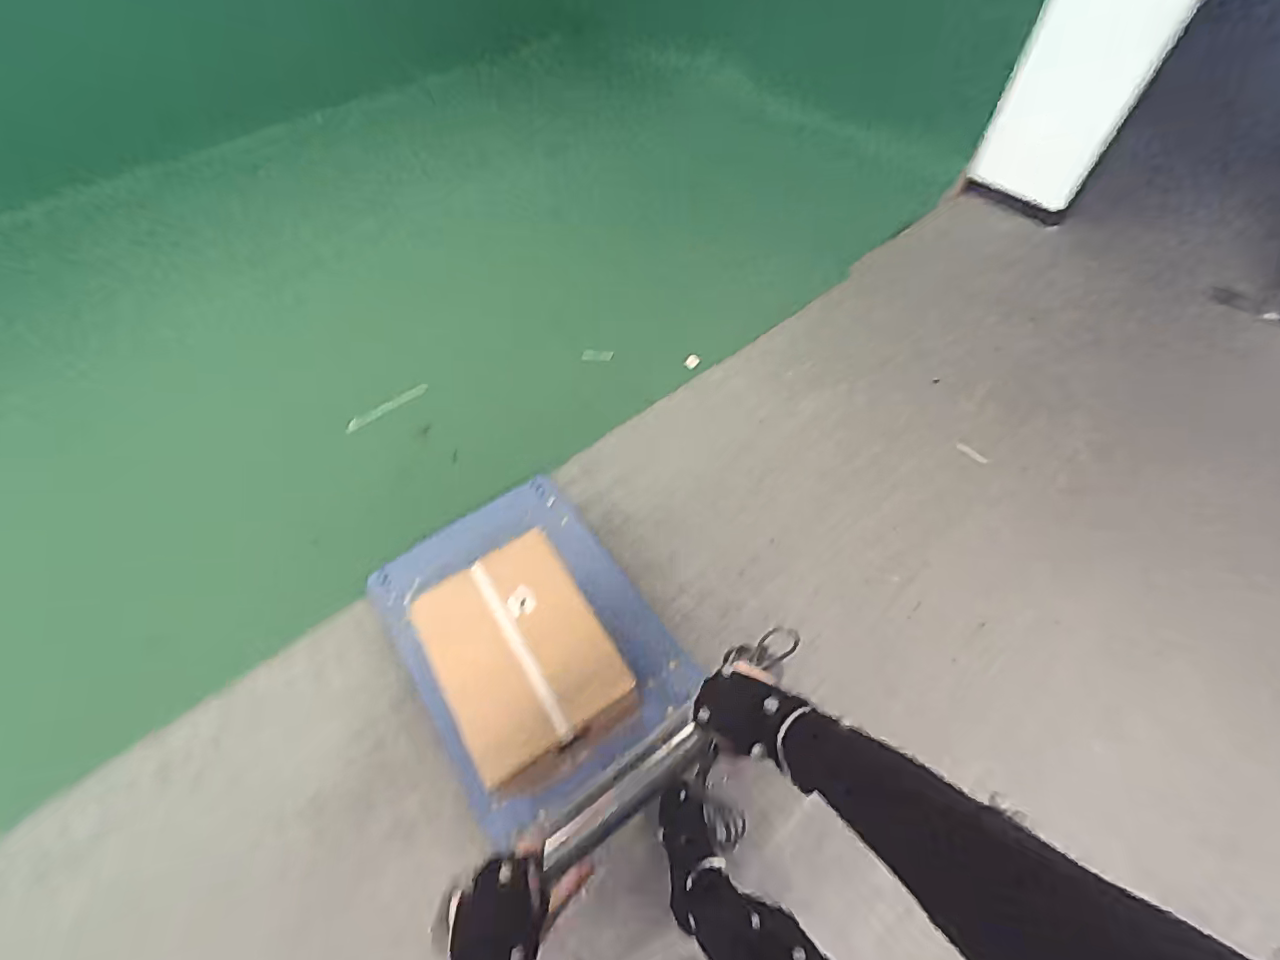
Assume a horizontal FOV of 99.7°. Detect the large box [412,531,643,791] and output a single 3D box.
[{"bbox_3d":[-0.231,0.399,1.193,0.320,0.320,0.408,-30,61,-16],"label":"large box"}]
